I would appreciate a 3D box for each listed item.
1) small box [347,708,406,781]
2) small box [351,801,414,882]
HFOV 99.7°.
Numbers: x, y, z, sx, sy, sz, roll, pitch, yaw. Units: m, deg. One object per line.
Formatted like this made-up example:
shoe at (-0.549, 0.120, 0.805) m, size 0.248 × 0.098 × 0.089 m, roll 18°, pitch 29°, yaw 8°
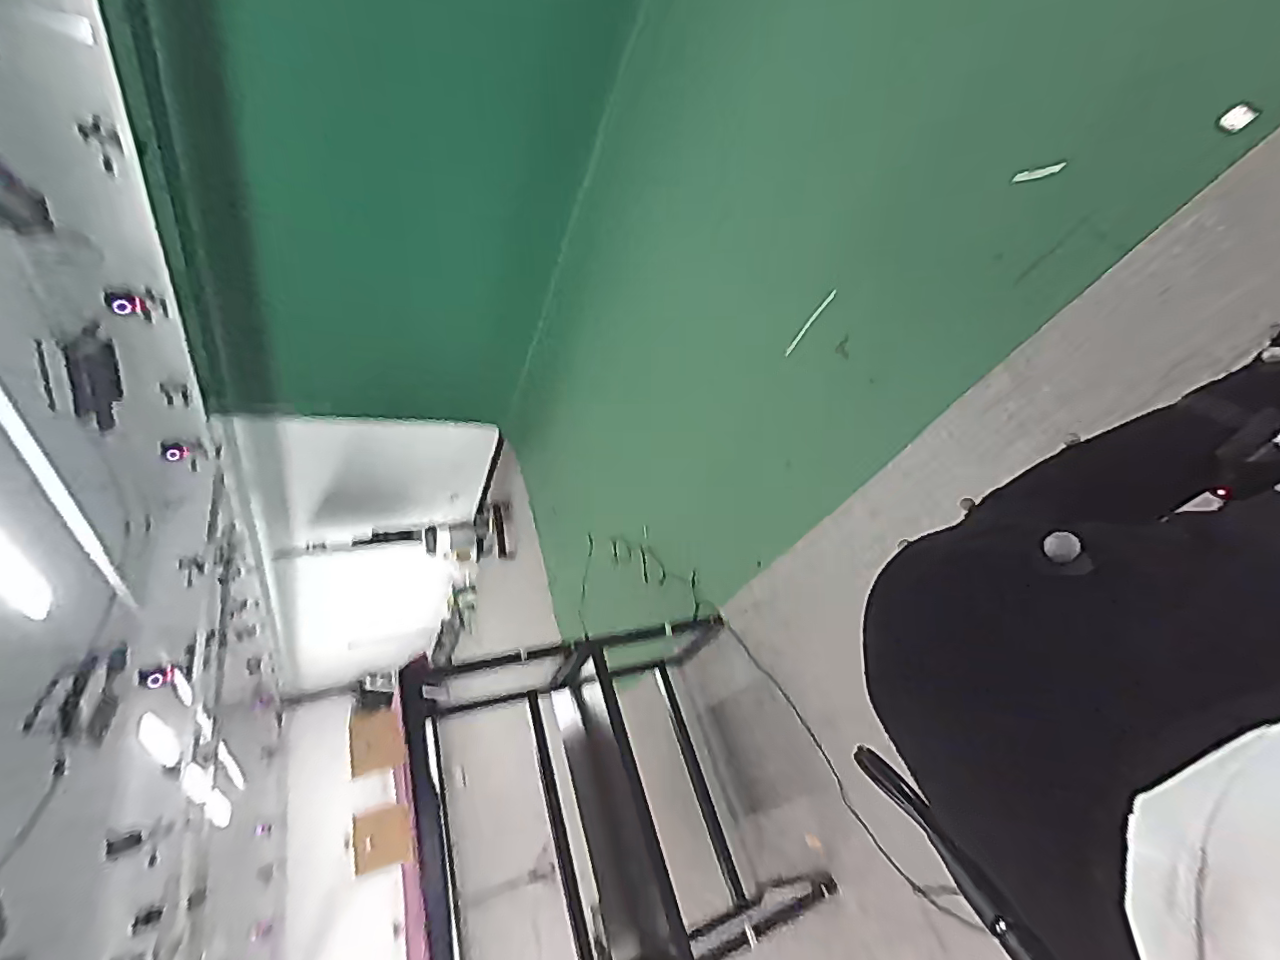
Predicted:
small box at (-0.913, 0.914, 1.868) m, size 0.168 × 0.176 × 0.179 m, roll -52°, pitch 48°, yaw 46°
small box at (-0.825, 1.148, 1.725) m, size 0.168 × 0.176 × 0.179 m, roll -58°, pitch 44°, yaw 46°
